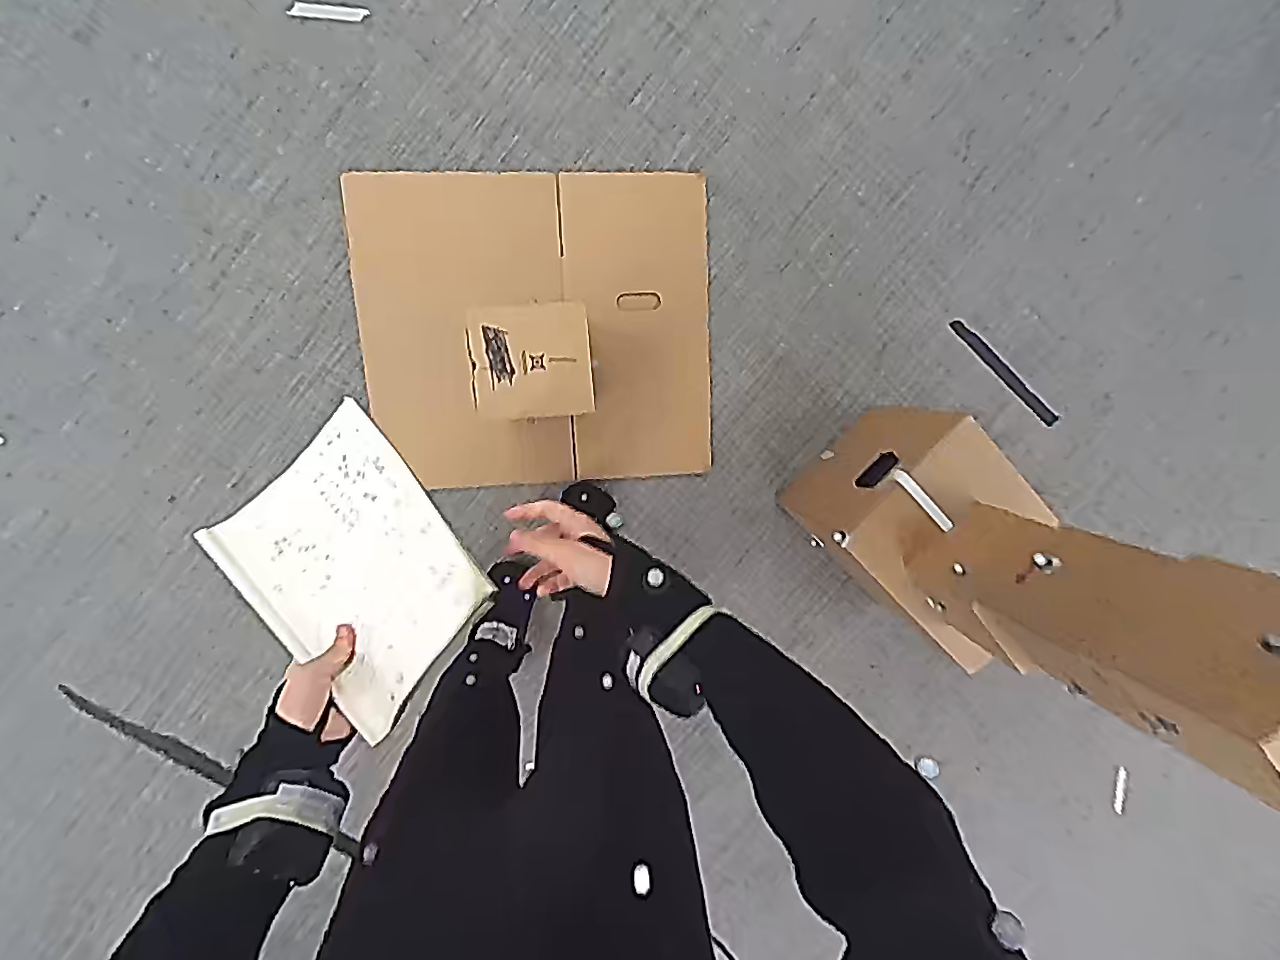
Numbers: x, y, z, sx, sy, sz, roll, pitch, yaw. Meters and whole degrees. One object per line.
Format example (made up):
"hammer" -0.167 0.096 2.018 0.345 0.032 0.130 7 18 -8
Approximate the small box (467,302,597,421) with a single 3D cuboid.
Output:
"small box" -0.165 -0.186 0.863 0.179 0.176 0.168 -6 102 -7

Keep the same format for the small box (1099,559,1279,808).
"small box" 0.649 0.210 0.562 0.179 0.176 0.168 -45 102 3

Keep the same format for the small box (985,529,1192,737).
"small box" 0.623 0.191 0.724 0.179 0.176 0.168 42 93 -11
